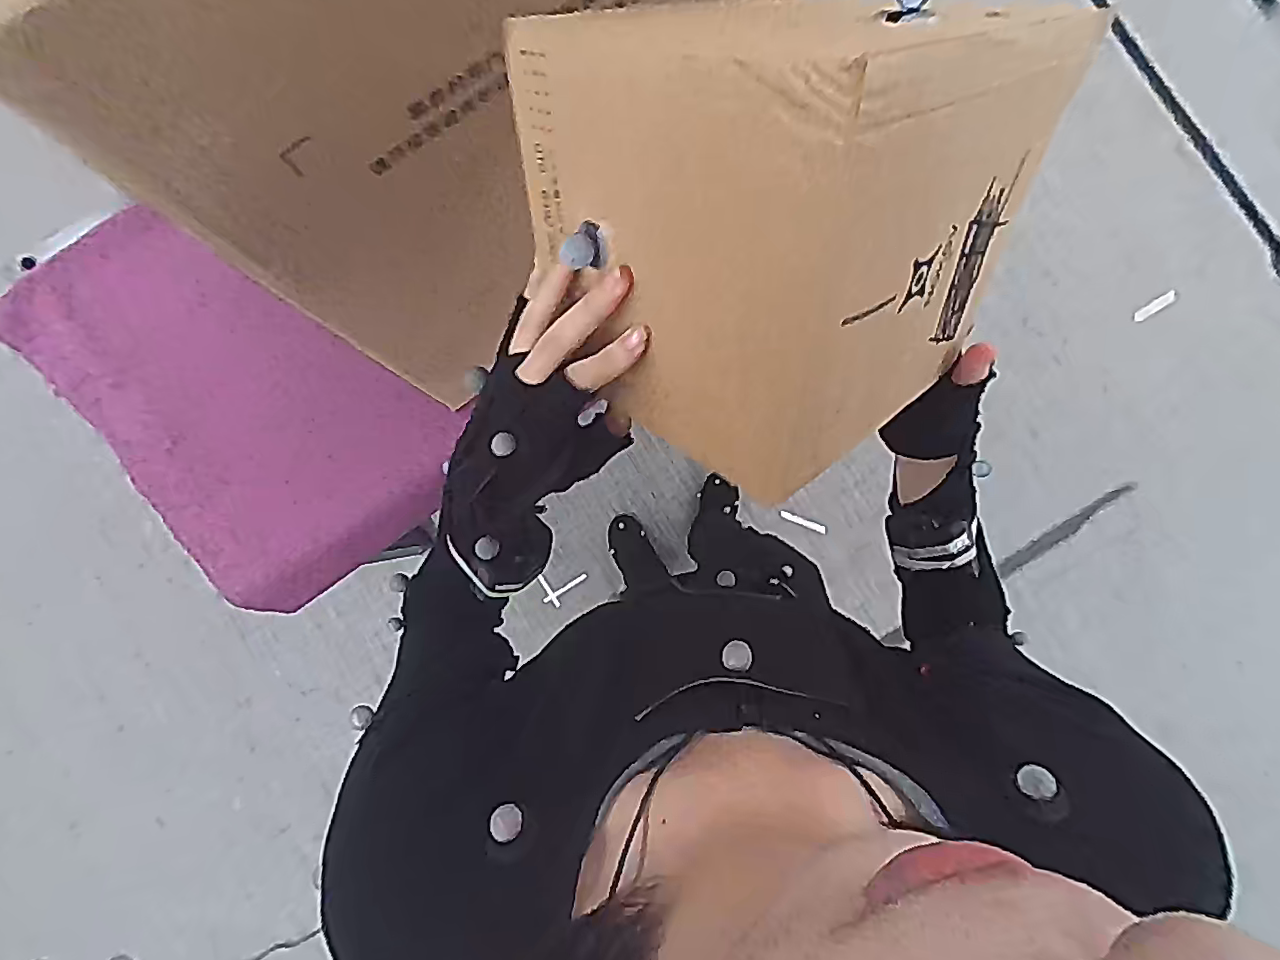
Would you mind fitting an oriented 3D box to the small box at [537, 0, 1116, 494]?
[{"bbox_3d":[0.074,-0.130,0.272,0.179,0.168,0.176,-32,49,-30],"label":"small box"}]
